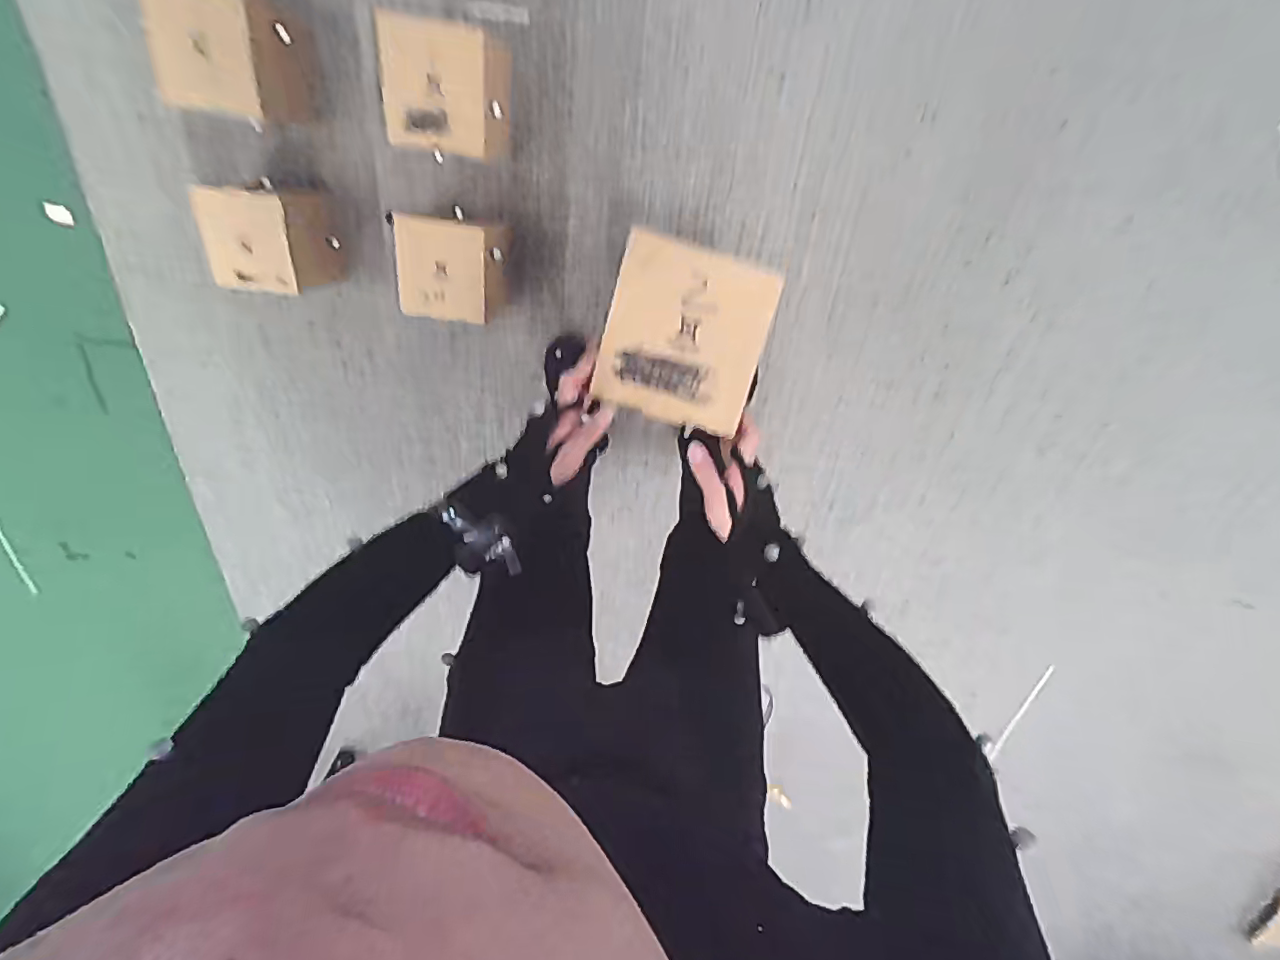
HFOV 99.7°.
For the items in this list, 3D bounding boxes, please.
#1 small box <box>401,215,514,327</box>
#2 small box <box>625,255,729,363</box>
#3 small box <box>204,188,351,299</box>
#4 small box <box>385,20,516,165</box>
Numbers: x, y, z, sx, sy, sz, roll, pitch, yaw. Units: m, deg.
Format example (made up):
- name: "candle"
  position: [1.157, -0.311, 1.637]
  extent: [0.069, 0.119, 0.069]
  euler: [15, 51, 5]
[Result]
- name: "small box"
  position: [-0.357, -0.424, 1.084]
  extent: [0.168, 0.176, 0.179]
  euler: [9, 120, 0]
- name: "small box"
  position: [0.072, -0.350, 1.090]
  extent: [0.179, 0.176, 0.168]
  euler: [8, 119, -1]
- name: "small box"
  position: [-0.711, -0.477, 1.085]
  extent: [0.168, 0.176, 0.179]
  euler: [8, 119, 1]
- name: "small box"
  position: [-0.320, -0.662, 0.946]
  extent: [0.168, 0.176, 0.179]
  euler: [9, 119, 0]
